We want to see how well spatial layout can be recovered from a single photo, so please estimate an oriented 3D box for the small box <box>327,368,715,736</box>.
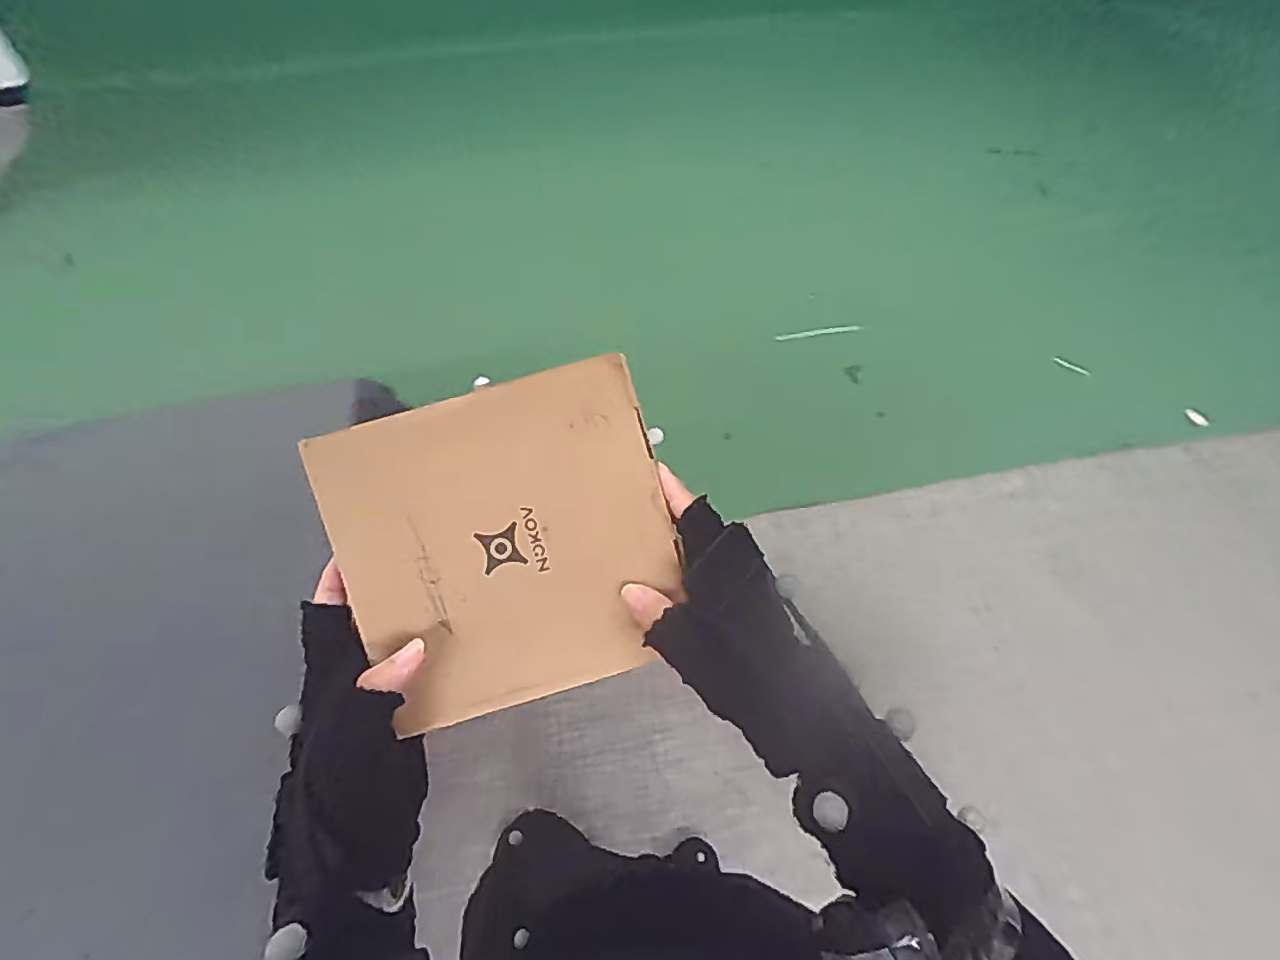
[{"bbox_3d":[-0.064,0.036,0.370,0.179,0.176,0.168,-16,92,0],"label":"small box"}]
